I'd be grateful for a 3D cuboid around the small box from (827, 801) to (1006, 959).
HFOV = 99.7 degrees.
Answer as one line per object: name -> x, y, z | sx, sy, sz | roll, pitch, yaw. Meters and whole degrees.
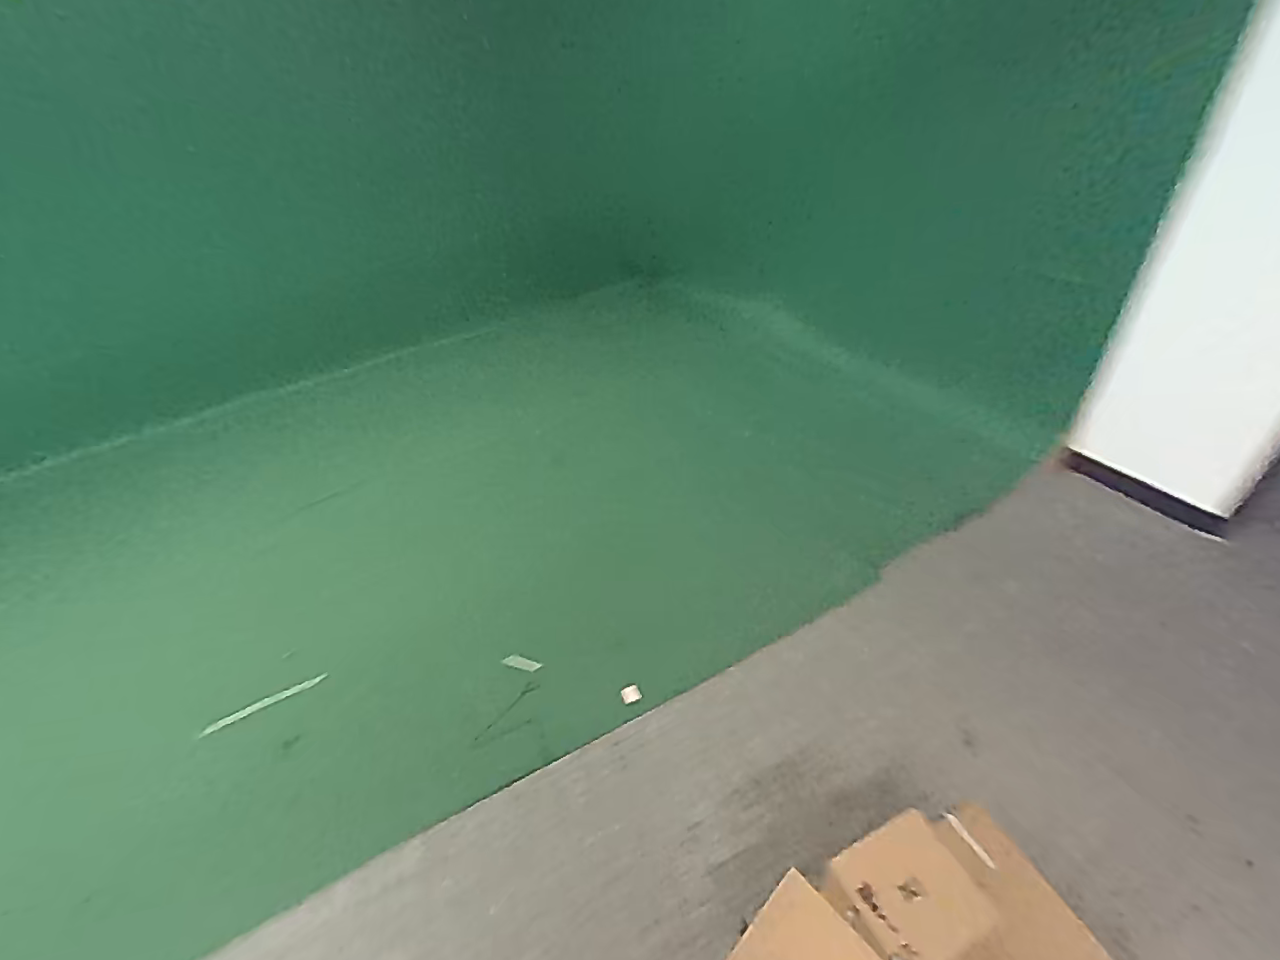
small box -> 0.419, 0.656, 0.853 | 0.179, 0.176, 0.168 | -20, 40, -15
